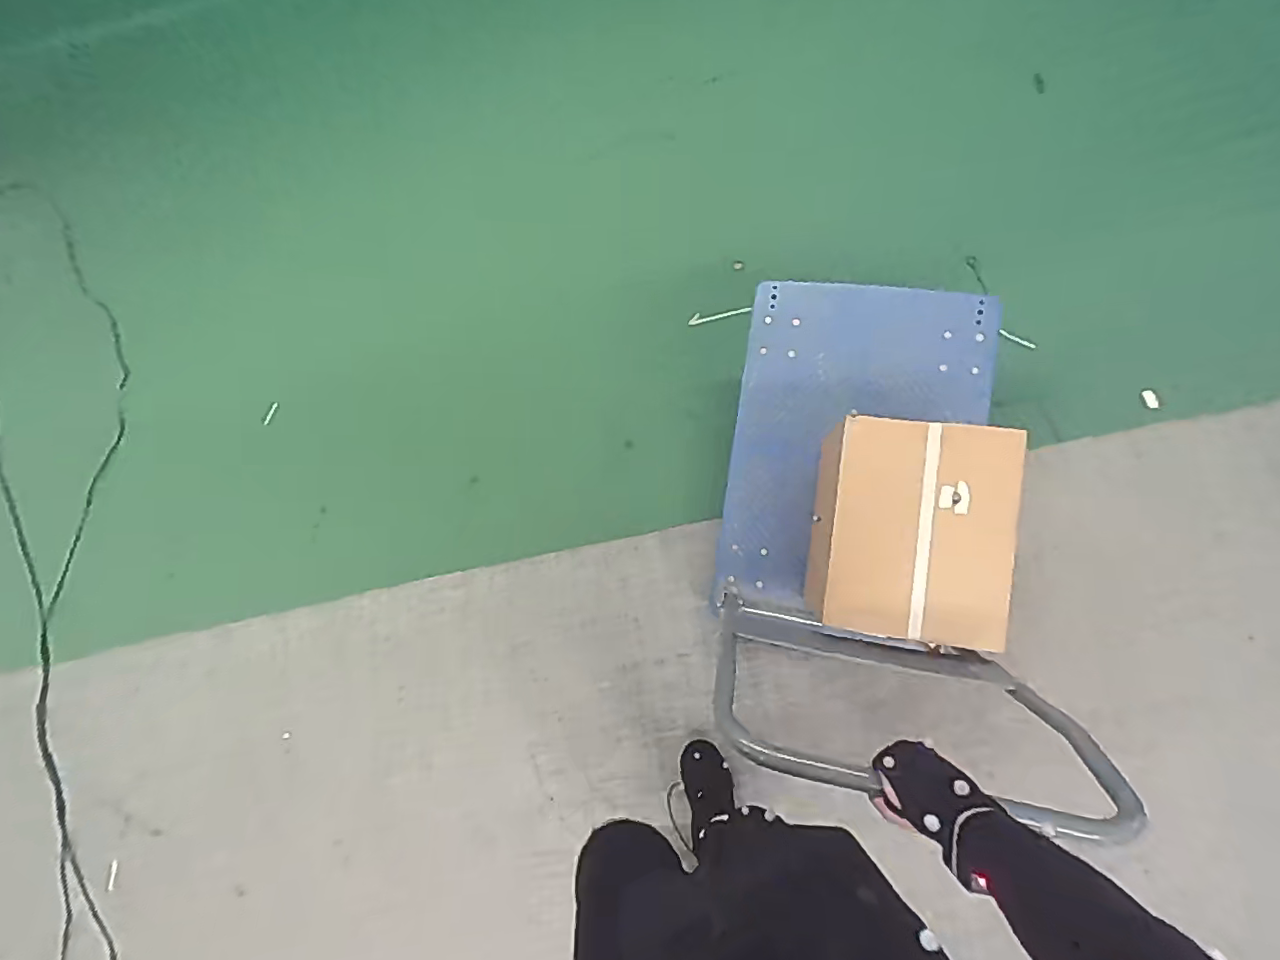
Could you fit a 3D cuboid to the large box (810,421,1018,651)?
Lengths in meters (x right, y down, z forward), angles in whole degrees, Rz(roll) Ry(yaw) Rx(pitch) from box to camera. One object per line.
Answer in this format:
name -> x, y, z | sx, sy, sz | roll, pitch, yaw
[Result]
large box -> 0.550, 0.111, 1.149 | 0.320, 0.320, 0.408 | 7, 86, 11
